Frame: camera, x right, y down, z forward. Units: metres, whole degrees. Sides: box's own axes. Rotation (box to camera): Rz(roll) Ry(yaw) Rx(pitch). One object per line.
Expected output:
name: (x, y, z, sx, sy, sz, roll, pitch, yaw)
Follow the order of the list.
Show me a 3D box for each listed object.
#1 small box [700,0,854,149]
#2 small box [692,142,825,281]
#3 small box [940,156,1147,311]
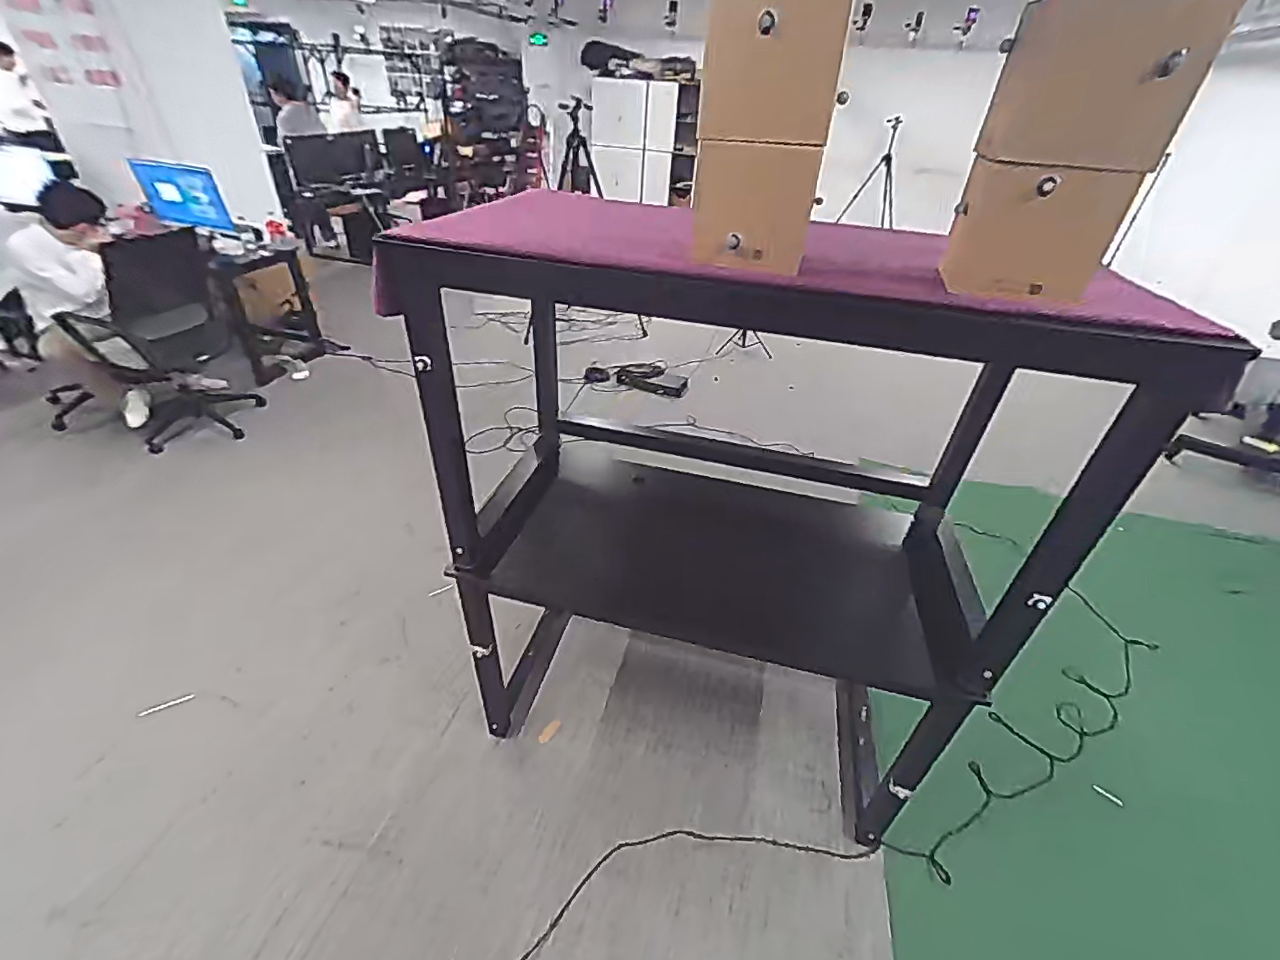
small box: (0.185, -0.556, 0.744, 0.179, 0.176, 0.168, 11, 35, 13)
small box: (0.182, -0.422, 0.839, 0.168, 0.176, 0.179, 12, 35, 13)
small box: (0.551, -0.357, 0.774, 0.168, 0.176, 0.179, 12, 36, 14)
